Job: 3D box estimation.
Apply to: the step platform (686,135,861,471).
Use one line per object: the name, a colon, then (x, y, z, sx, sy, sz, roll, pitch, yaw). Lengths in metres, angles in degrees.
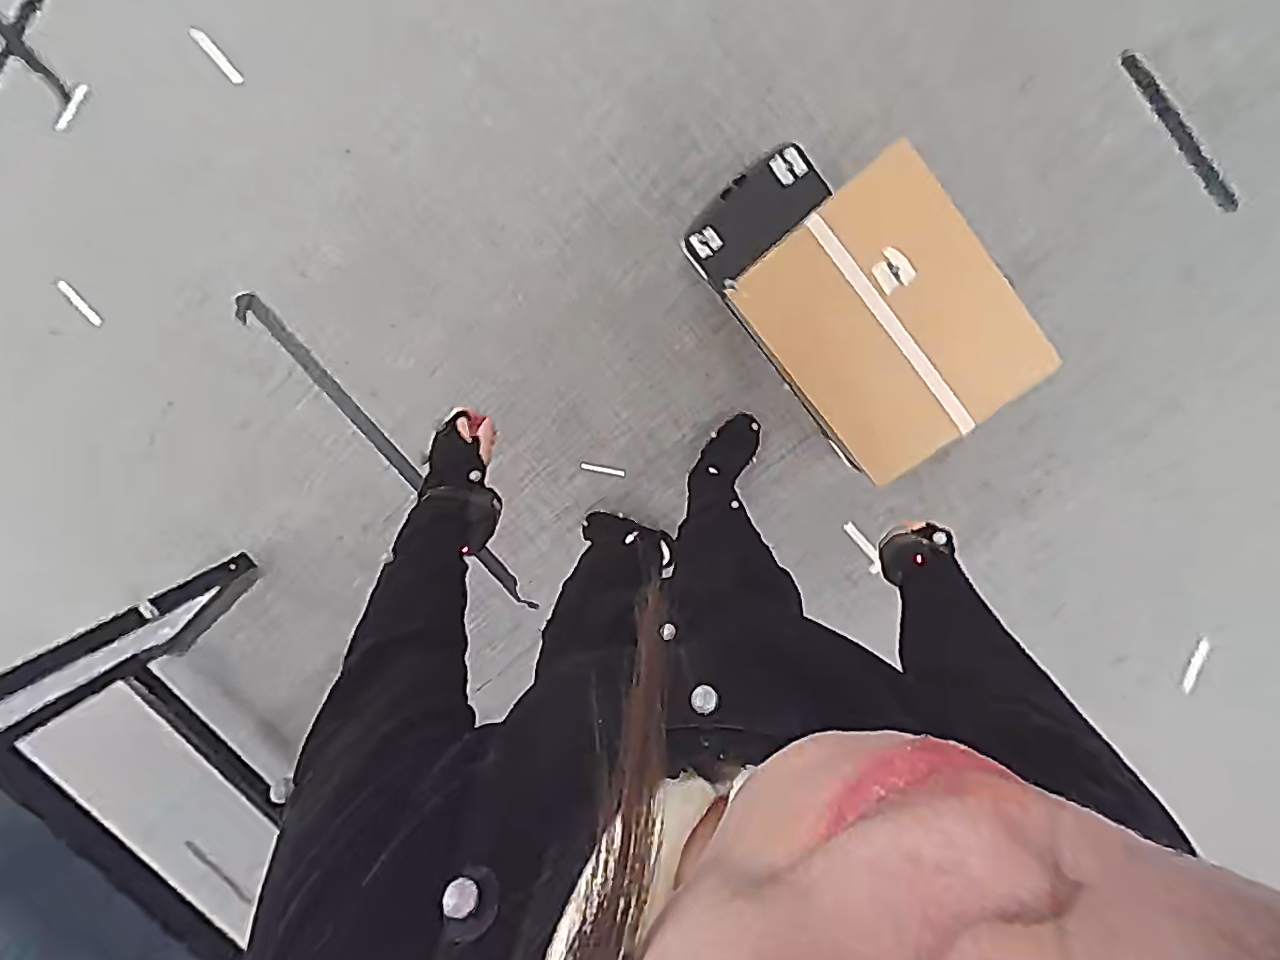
step platform: (0.385, -0.356, 1.174, 0.286, 0.204, 0.684, -32, 98, 16)

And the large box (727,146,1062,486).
large box: (0.399, -0.263, 0.948, 0.320, 0.320, 0.408, -38, 96, 16)
